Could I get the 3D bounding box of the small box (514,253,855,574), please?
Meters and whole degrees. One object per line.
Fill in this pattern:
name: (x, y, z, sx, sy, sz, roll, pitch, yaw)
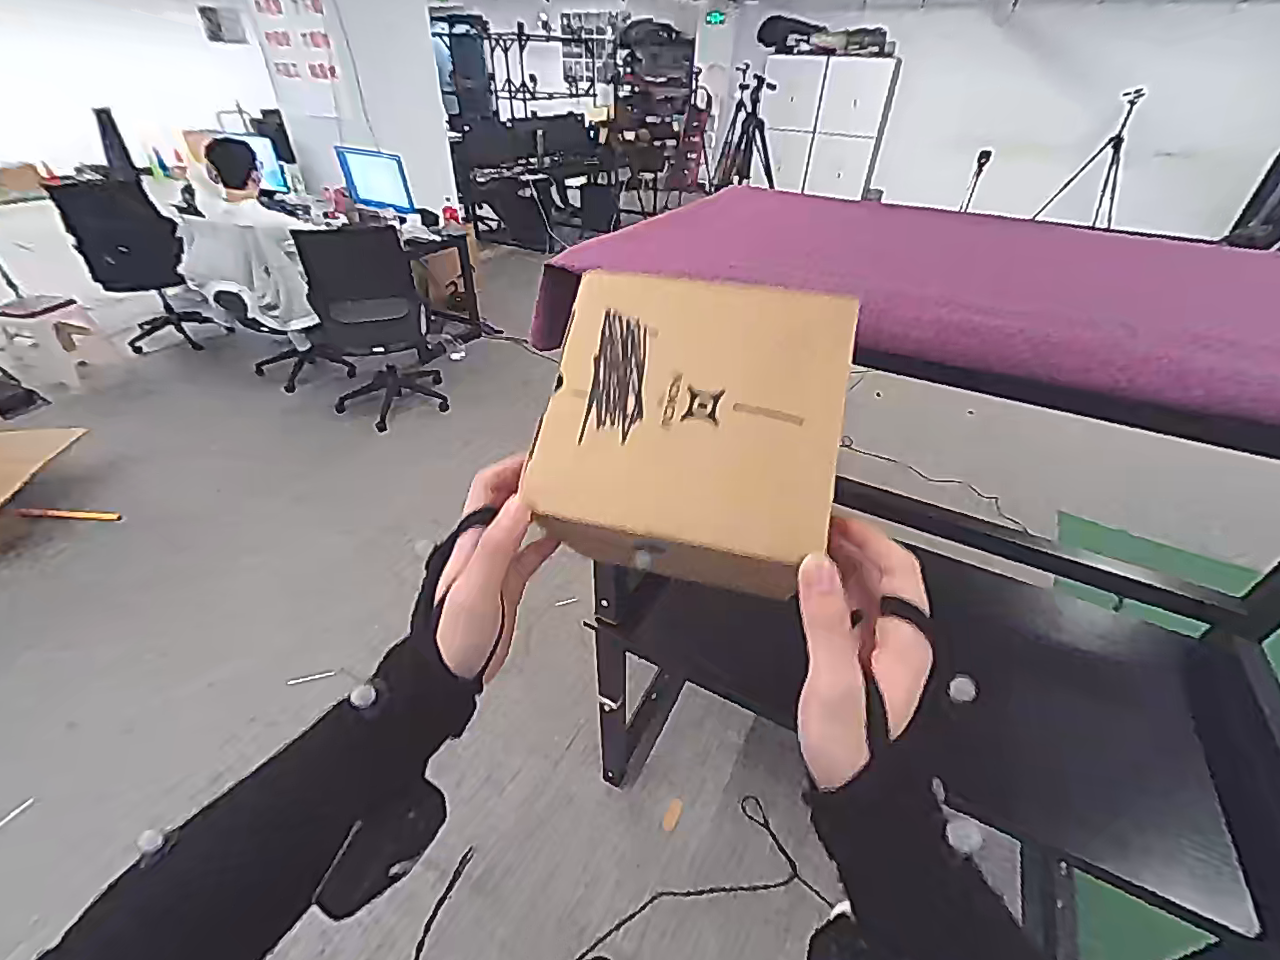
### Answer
small box: (0.038, -0.035, 0.395, 0.179, 0.176, 0.168, 11, 75, 11)
